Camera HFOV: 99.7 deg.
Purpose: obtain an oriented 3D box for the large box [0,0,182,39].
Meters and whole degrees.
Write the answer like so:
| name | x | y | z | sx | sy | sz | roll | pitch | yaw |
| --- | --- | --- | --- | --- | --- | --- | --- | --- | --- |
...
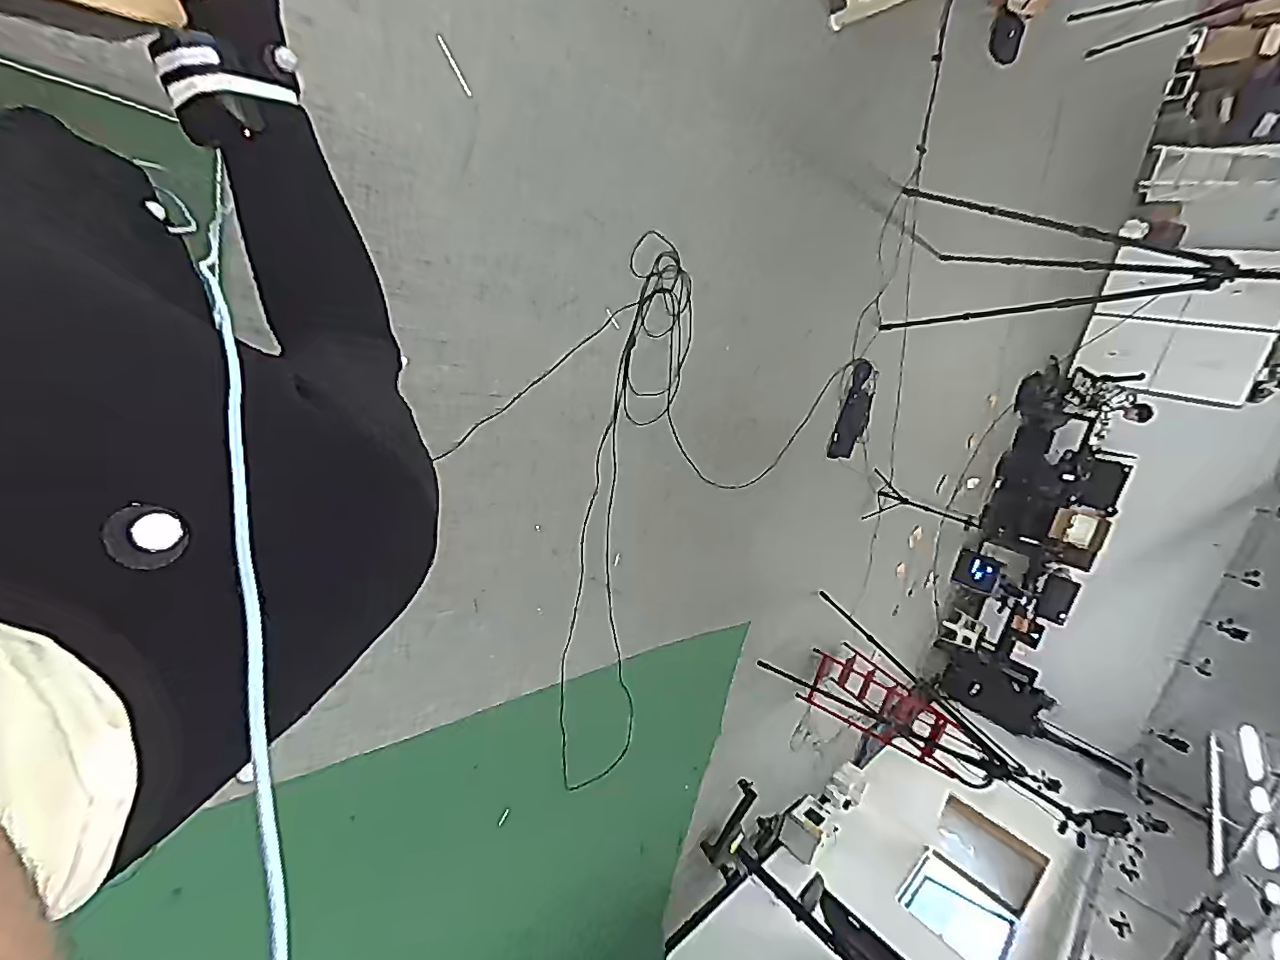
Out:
| name | x | y | z | sx | sy | sz | roll | pitch | yaw |
| --- | --- | --- | --- | --- | --- | --- | --- | --- | --- |
| large box | -0.566 | -0.494 | 0.291 | 0.408 | 0.320 | 0.320 | -18 | 129 | -44 |
